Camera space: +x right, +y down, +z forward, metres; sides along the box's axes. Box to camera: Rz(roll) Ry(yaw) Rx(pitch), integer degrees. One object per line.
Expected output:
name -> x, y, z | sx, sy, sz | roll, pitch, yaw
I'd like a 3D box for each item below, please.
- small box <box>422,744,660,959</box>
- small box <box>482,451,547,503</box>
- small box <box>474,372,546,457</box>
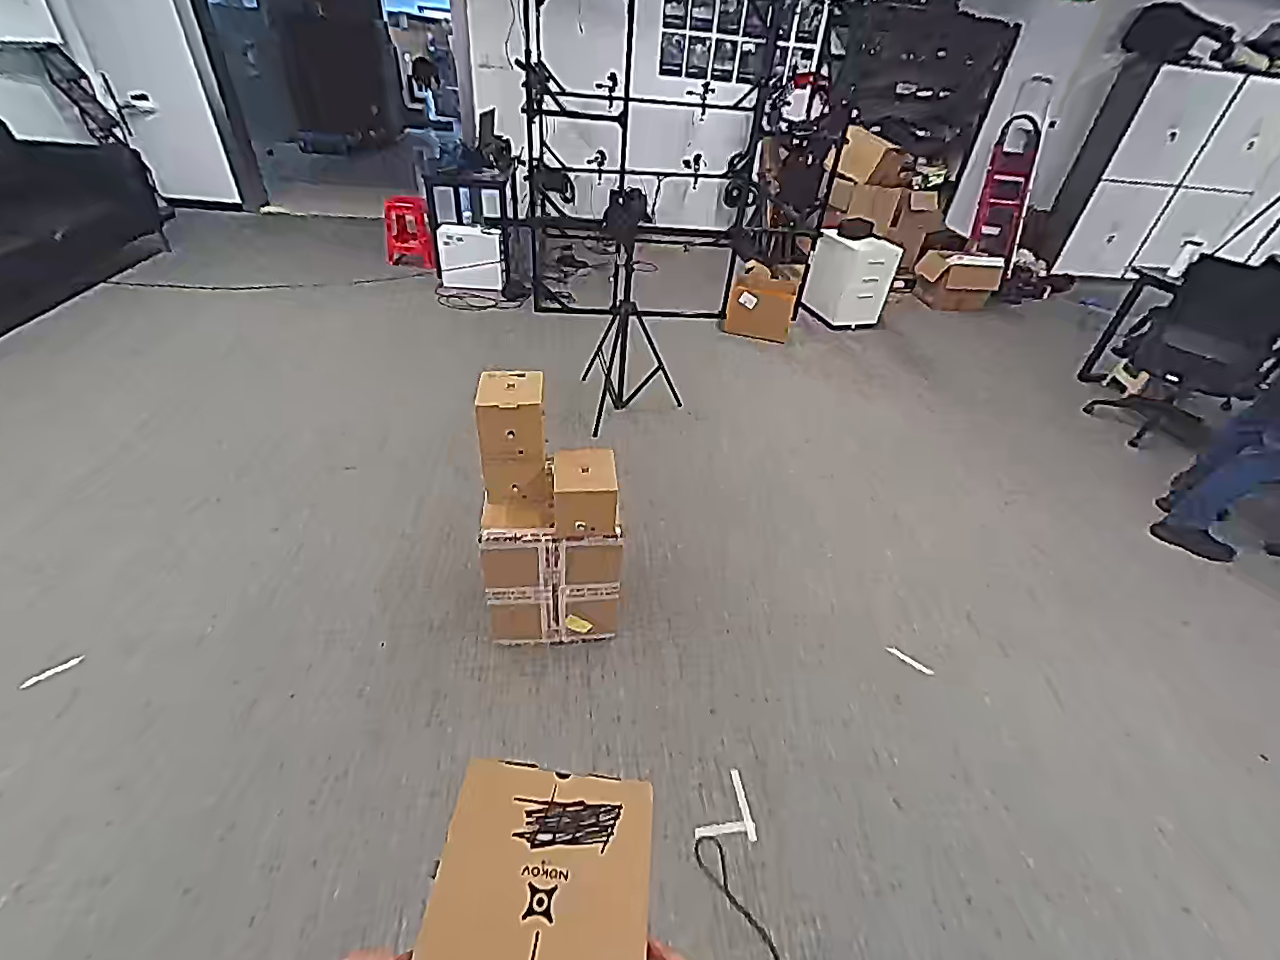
small box -> -0.082, 0.367, 0.477 | 0.168, 0.176, 0.179 | 10, 40, -4
small box -> -0.359, -0.053, 1.573 | 0.168, 0.176, 0.179 | -3, 41, -8
small box -> -0.343, -0.173, 1.462 | 0.168, 0.176, 0.179 | -2, 41, -7
